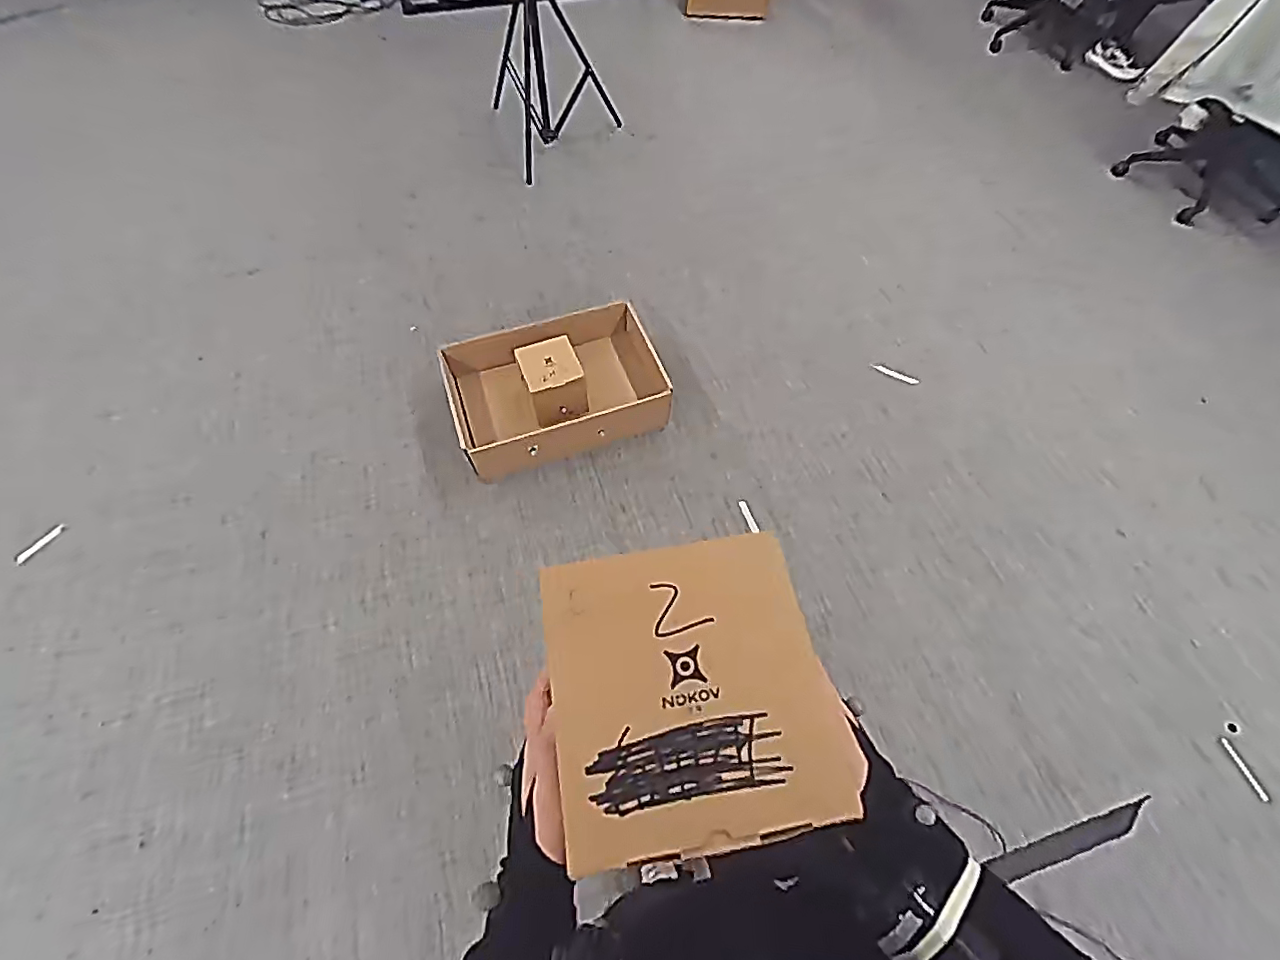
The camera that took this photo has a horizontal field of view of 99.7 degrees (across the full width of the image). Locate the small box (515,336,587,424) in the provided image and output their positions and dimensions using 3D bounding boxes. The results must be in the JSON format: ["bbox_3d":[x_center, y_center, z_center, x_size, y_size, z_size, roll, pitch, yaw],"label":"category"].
[{"bbox_3d":[-0.267,-0.300,1.642,0.168,0.176,0.179,-20,64,-12],"label":"small box"}]
